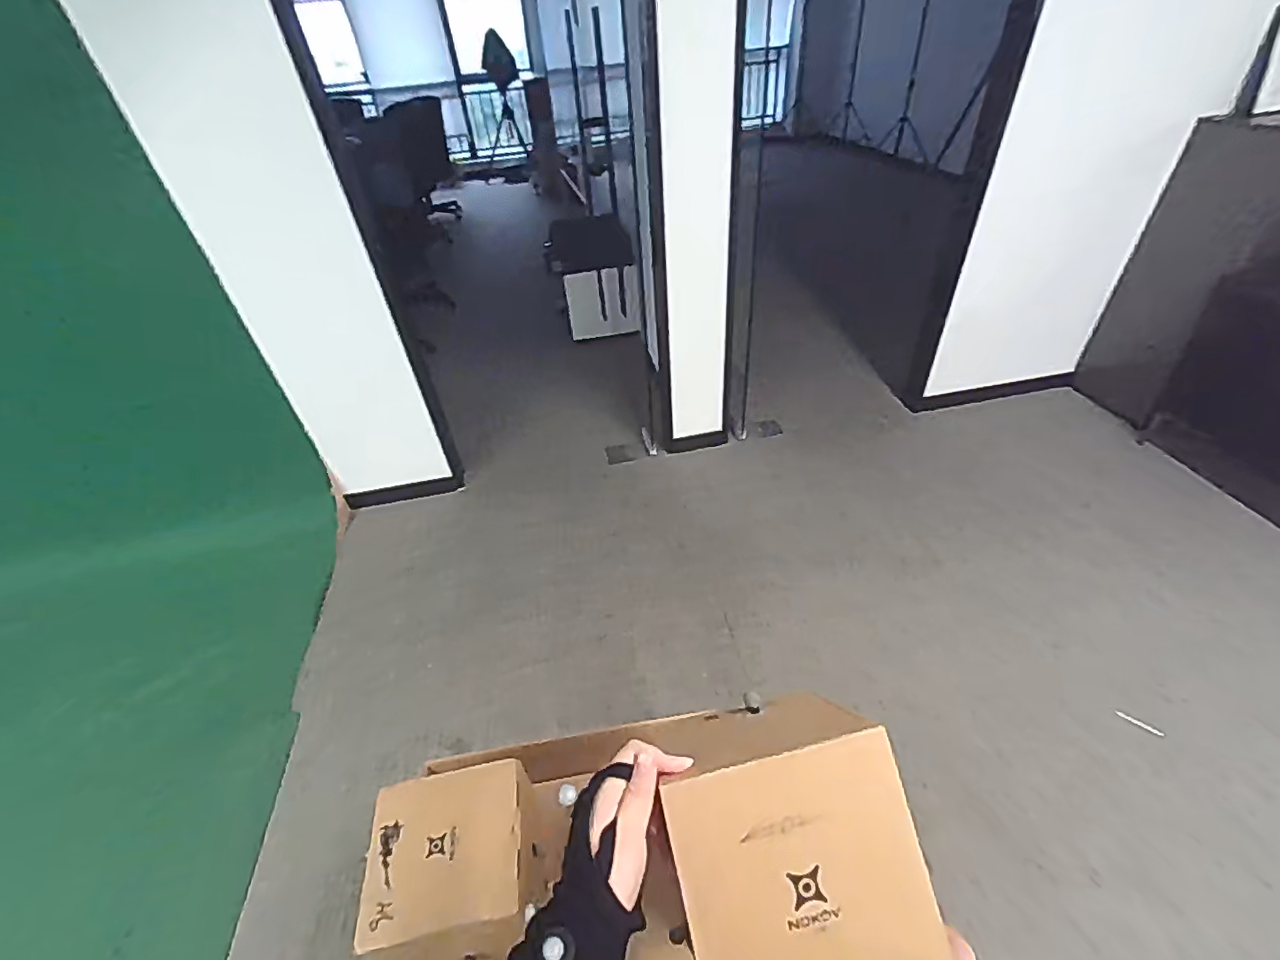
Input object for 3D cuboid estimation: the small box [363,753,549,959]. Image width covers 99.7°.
[{"bbox_3d":[-0.213,0.478,0.684,0.179,0.176,0.168,-10,40,-5],"label":"small box"}]
